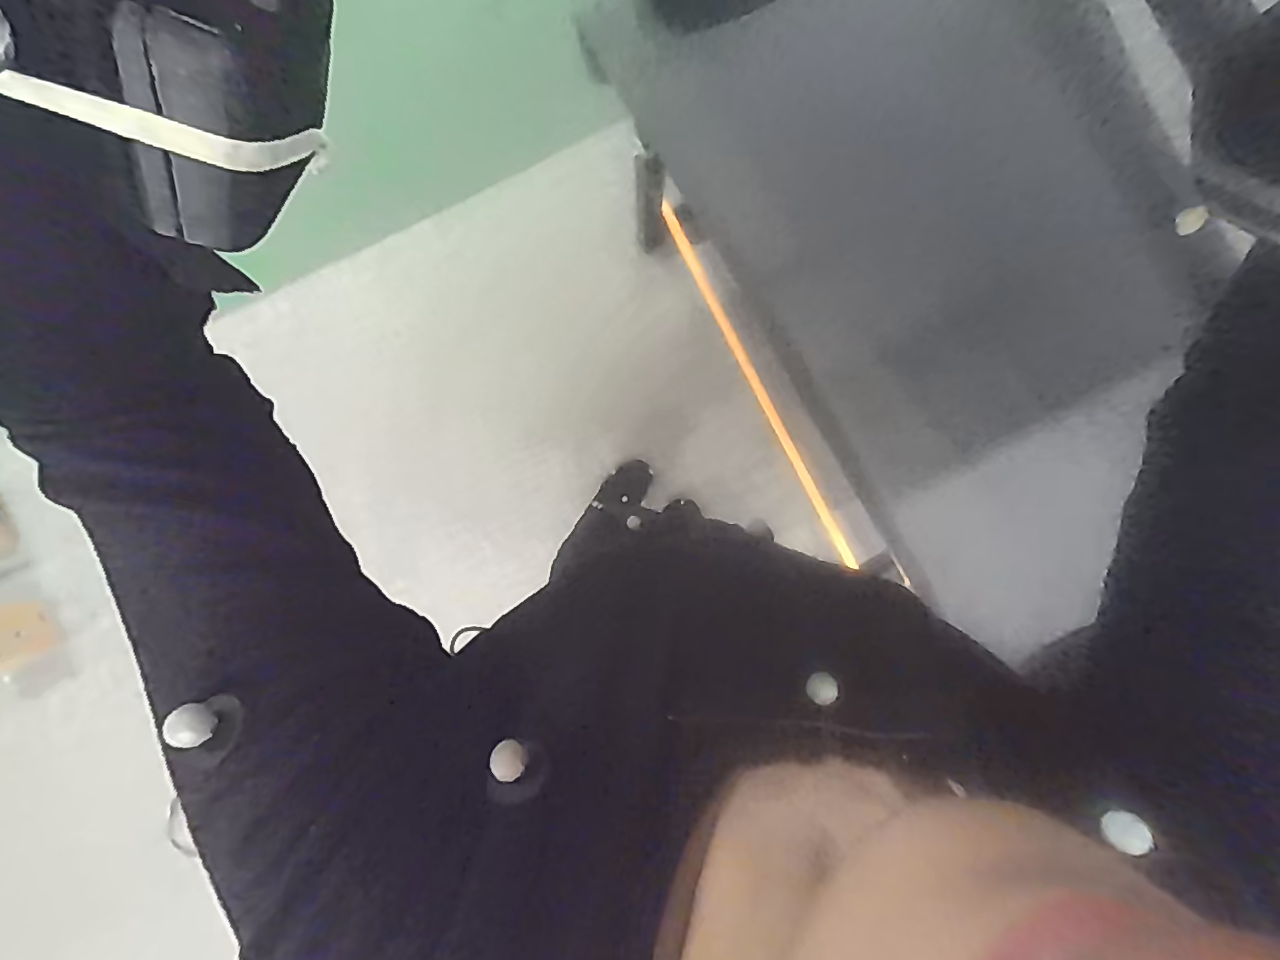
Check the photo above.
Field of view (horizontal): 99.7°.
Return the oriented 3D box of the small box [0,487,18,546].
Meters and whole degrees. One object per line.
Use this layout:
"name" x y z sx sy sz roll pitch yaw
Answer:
"small box" -1.826 0.115 1.418 0.179 0.176 0.168 -23 88 -2
